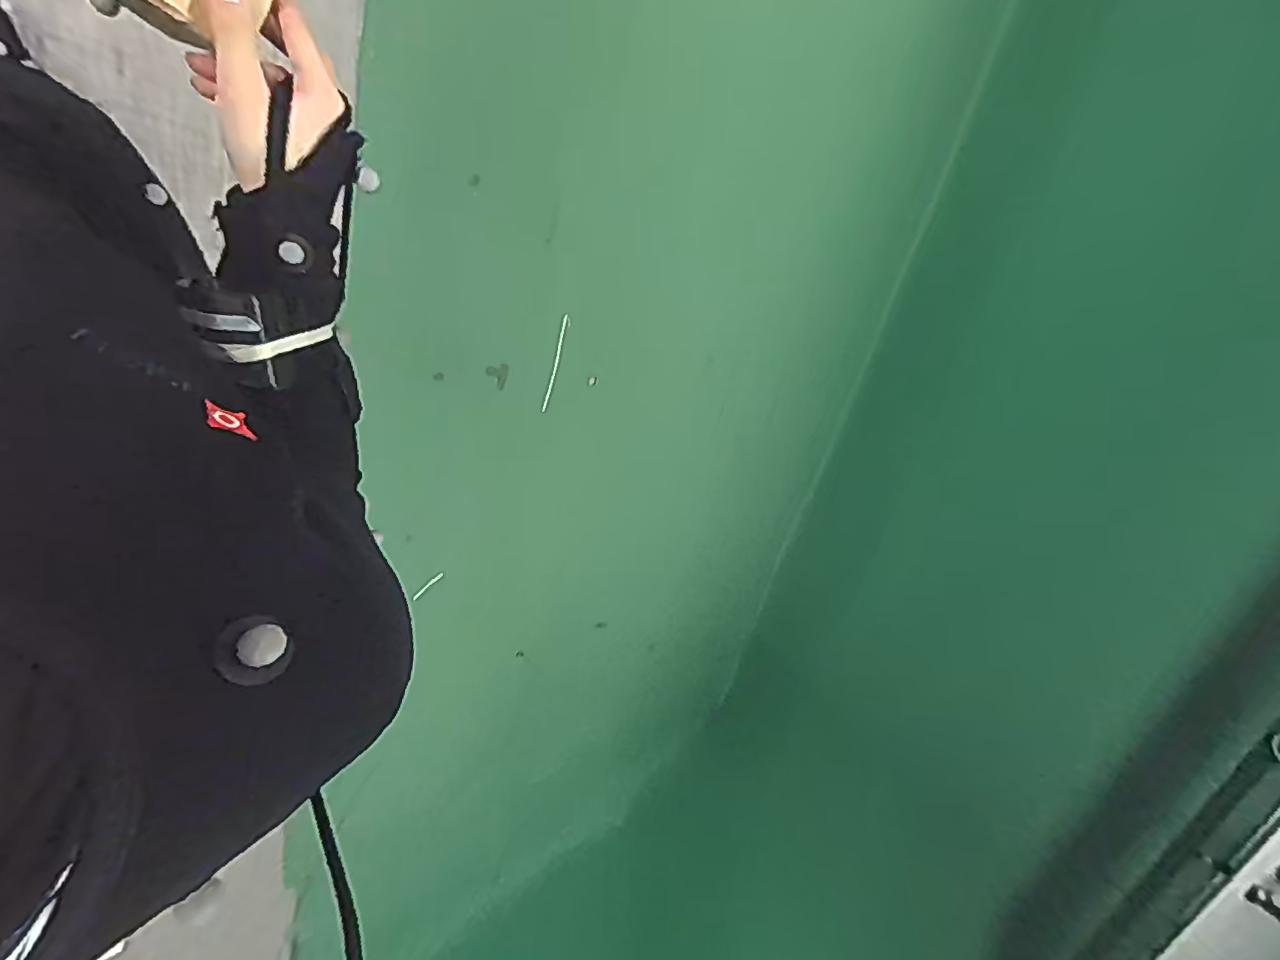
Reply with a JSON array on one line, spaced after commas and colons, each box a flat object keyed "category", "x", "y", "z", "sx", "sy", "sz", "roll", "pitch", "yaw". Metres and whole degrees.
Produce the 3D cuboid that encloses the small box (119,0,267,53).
[{"category": "small box", "x": -0.270, "y": -0.356, "z": 0.257, "sx": 0.168, "sy": 0.176, "sz": 0.179, "roll": 17, "pitch": 105, "yaw": -58}]
